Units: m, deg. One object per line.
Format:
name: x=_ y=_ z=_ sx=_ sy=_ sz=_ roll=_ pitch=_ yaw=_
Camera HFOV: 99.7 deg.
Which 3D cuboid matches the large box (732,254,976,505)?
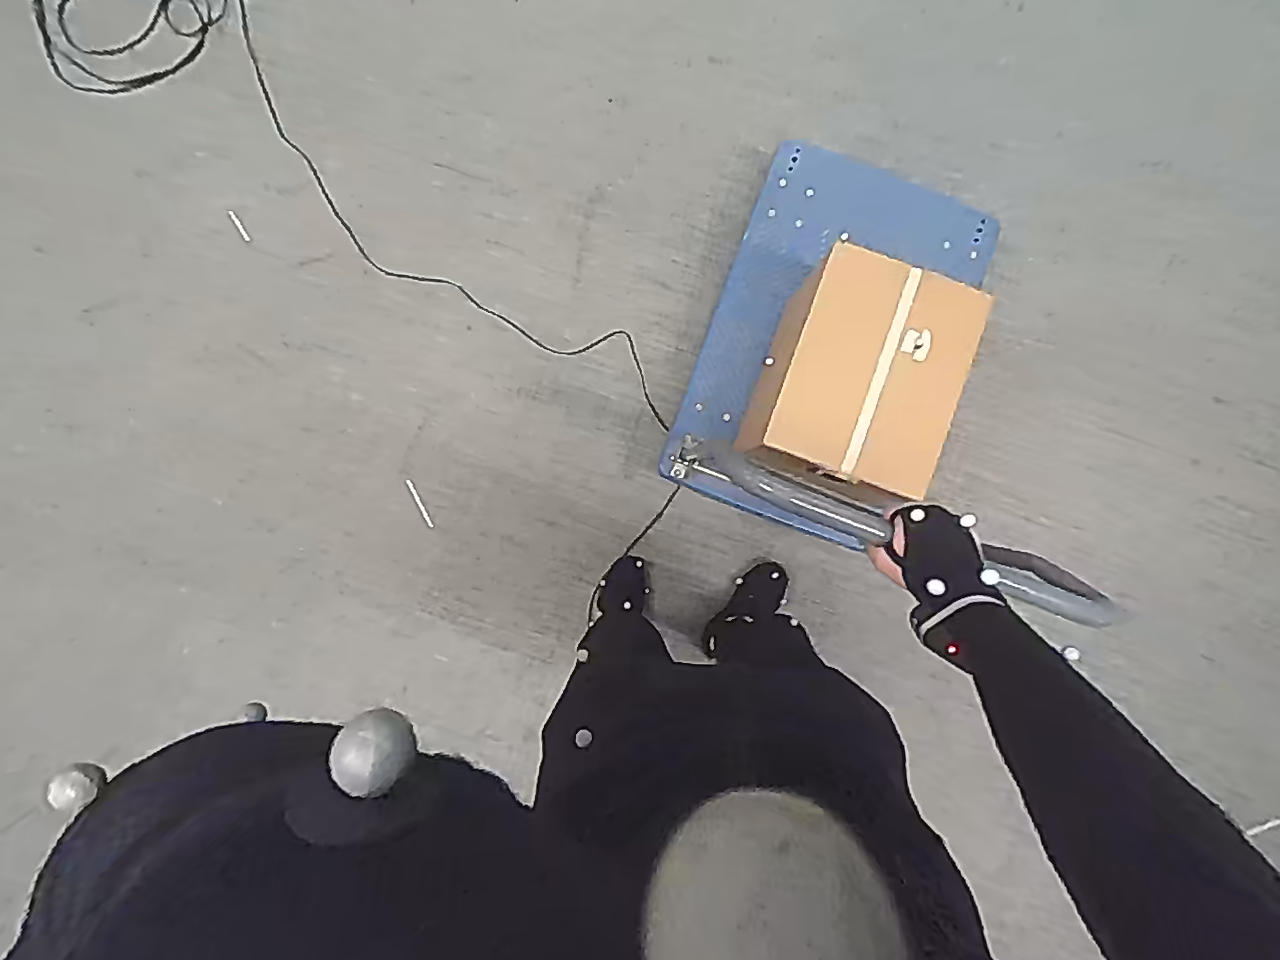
large box: x=0.420 y=-0.180 z=1.147 sx=0.320 sy=0.320 sz=0.408 roll=20 pitch=87 yaw=-1
